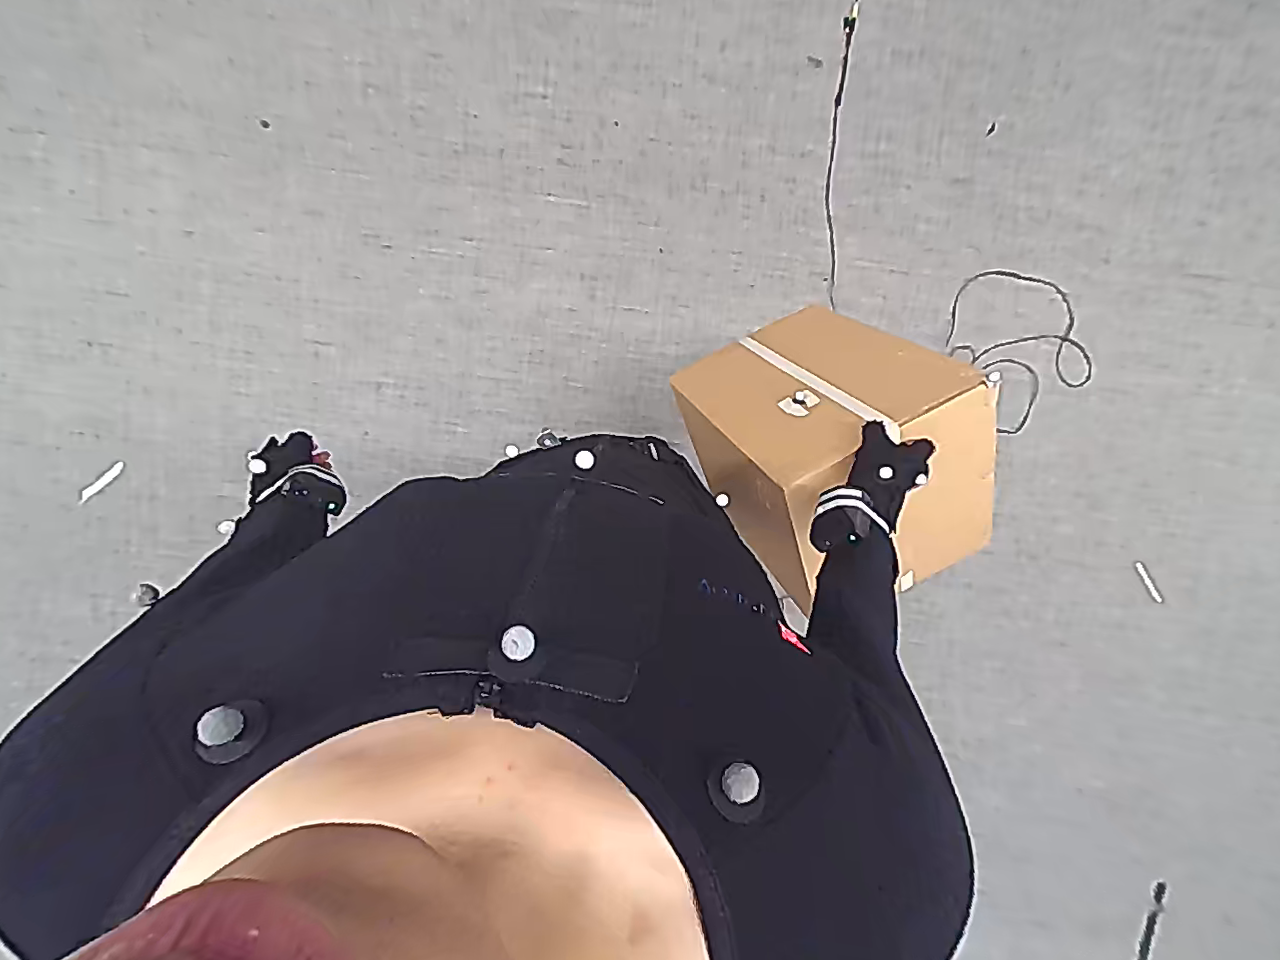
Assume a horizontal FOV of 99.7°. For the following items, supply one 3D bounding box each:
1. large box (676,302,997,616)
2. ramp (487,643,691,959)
[{"bbox_3d":[0.309,-0.056,0.927,0.320,0.408,0.320,-27,127,-3],"label":"large box"},{"bbox_3d":[-0.141,0.975,1.502,0.509,0.206,0.991,4,96,0],"label":"ramp"}]
